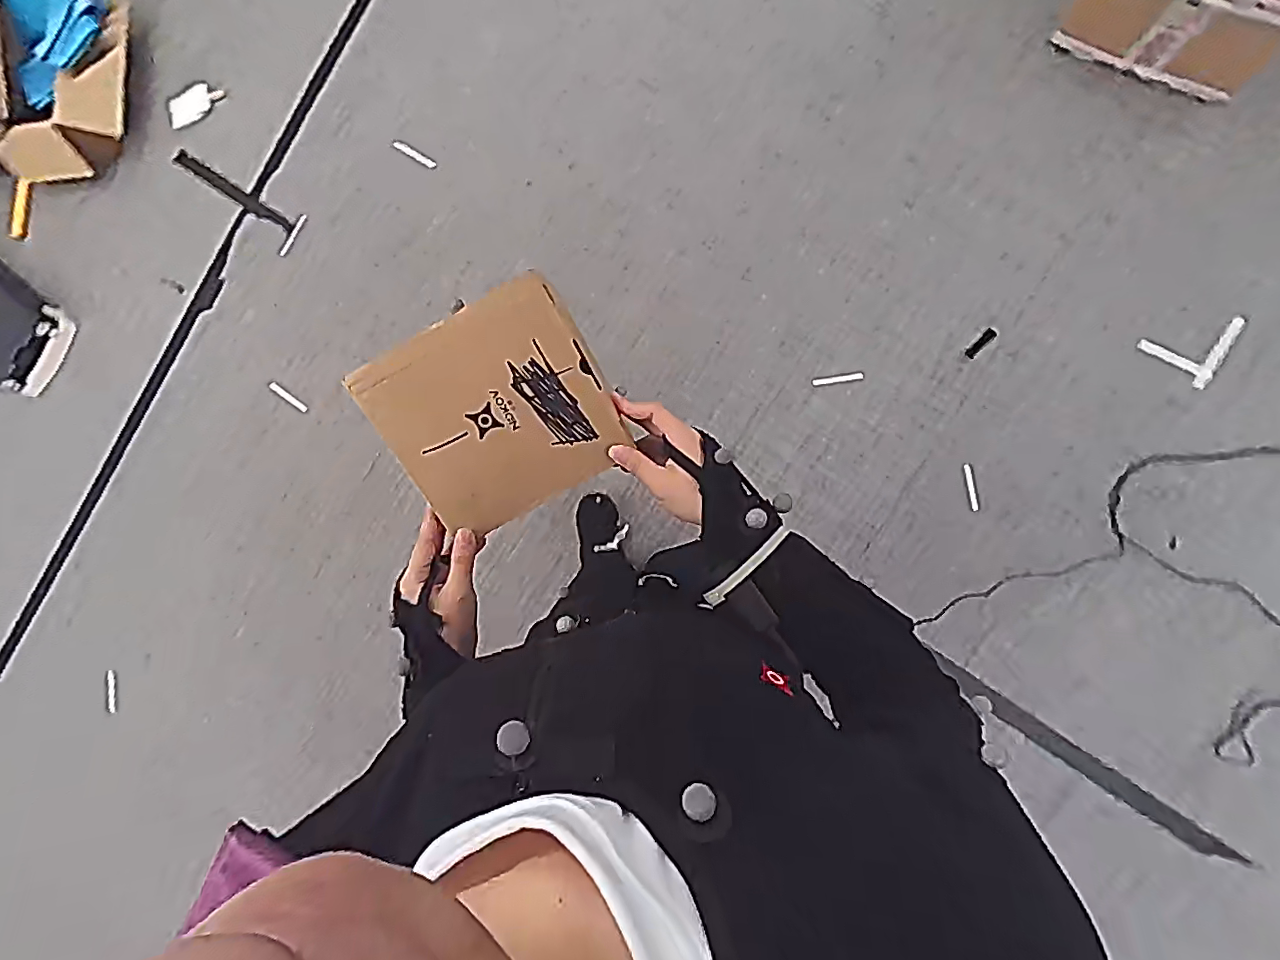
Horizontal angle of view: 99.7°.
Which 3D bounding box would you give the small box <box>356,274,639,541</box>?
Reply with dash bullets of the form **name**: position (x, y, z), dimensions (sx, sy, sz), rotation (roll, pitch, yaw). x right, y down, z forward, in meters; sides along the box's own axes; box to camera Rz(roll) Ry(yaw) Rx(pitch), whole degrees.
- **small box**: position (-0.118, -0.076, 0.514), dimensions (0.179, 0.176, 0.168), rotation (-27, 106, 4)
